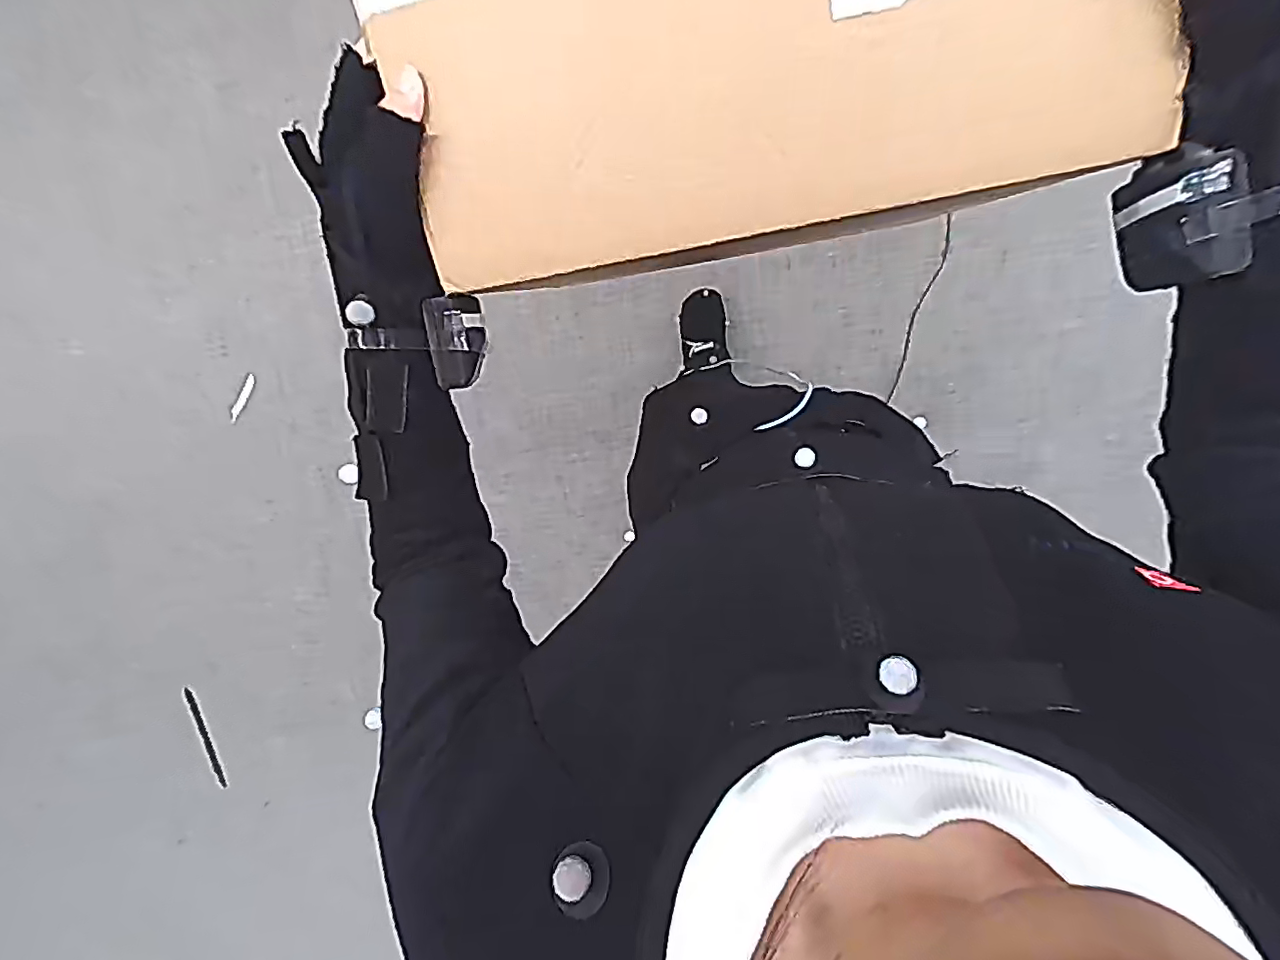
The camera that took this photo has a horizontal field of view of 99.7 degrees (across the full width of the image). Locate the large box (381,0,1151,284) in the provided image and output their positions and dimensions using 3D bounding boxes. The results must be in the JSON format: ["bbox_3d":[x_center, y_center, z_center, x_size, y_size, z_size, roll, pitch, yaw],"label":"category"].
[{"bbox_3d":[0.059,-0.350,0.413,0.408,0.320,0.320,-8,110,9],"label":"large box"}]
